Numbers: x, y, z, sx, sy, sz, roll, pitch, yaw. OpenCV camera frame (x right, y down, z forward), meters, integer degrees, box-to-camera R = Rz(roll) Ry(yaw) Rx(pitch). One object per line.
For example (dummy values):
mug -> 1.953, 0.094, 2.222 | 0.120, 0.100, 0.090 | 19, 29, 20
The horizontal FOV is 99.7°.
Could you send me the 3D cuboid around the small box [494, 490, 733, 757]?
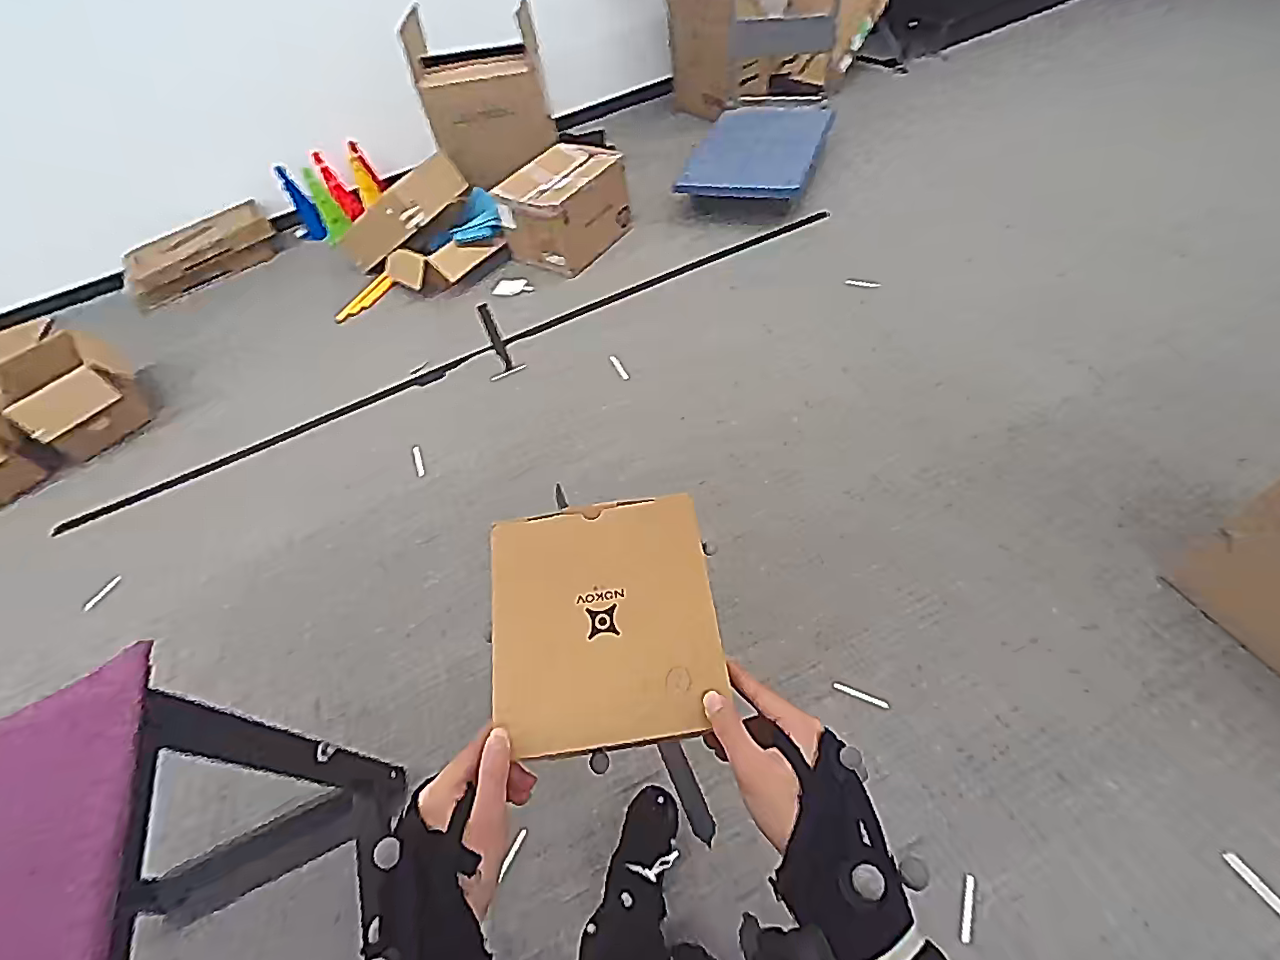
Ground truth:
small box -> -0.020, 0.132, 0.468 | 0.168, 0.176, 0.179 | -9, 62, 0
